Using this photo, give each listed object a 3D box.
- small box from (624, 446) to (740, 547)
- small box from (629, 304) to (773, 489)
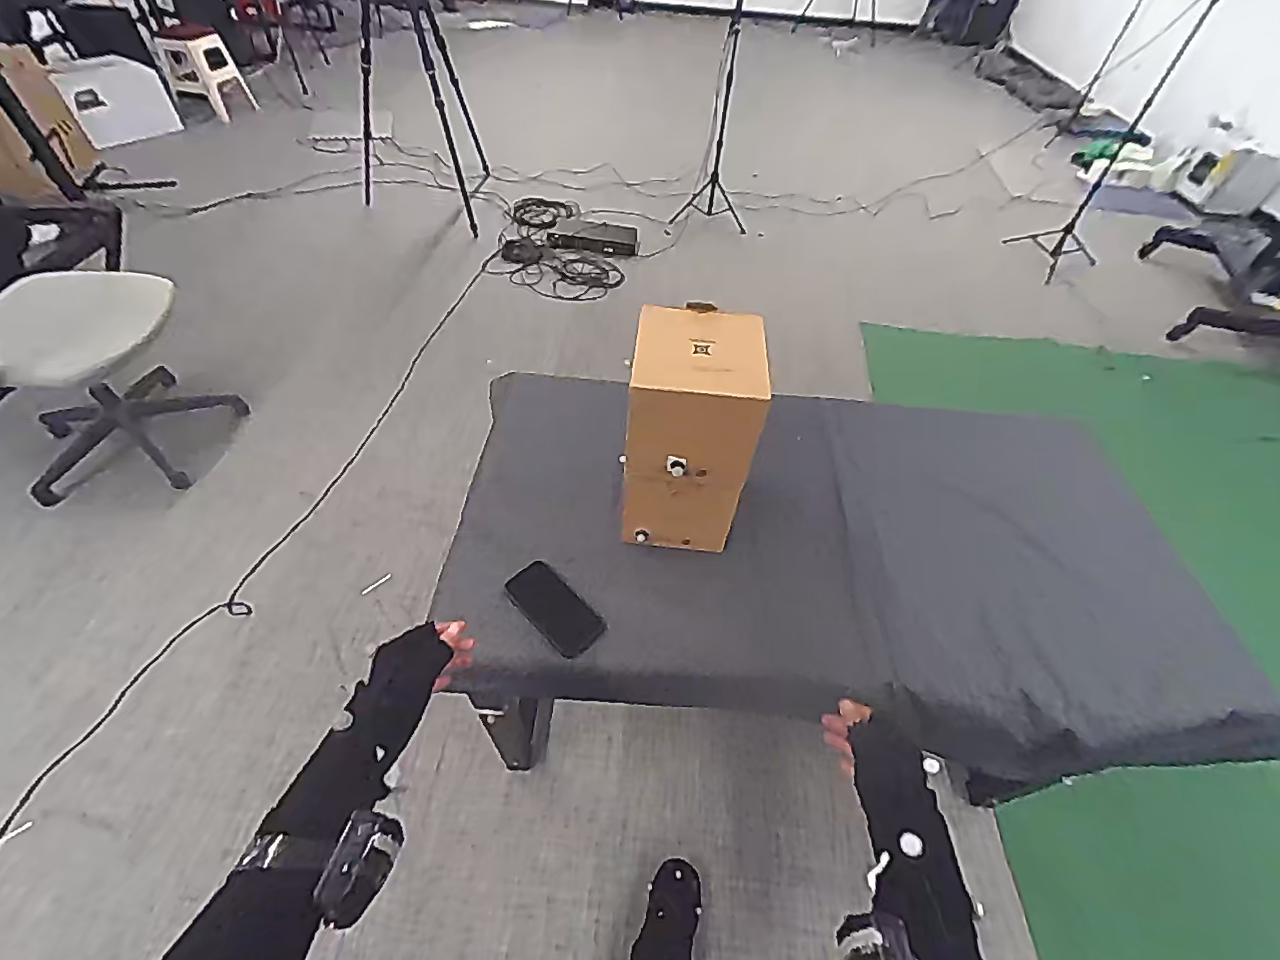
[{"bbox_3d":[0.065,-0.012,0.863,0.168,0.176,0.179,7,49,1],"label":"small box"},{"bbox_3d":[0.076,-0.113,0.736,0.168,0.176,0.179,5,50,1],"label":"small box"}]
